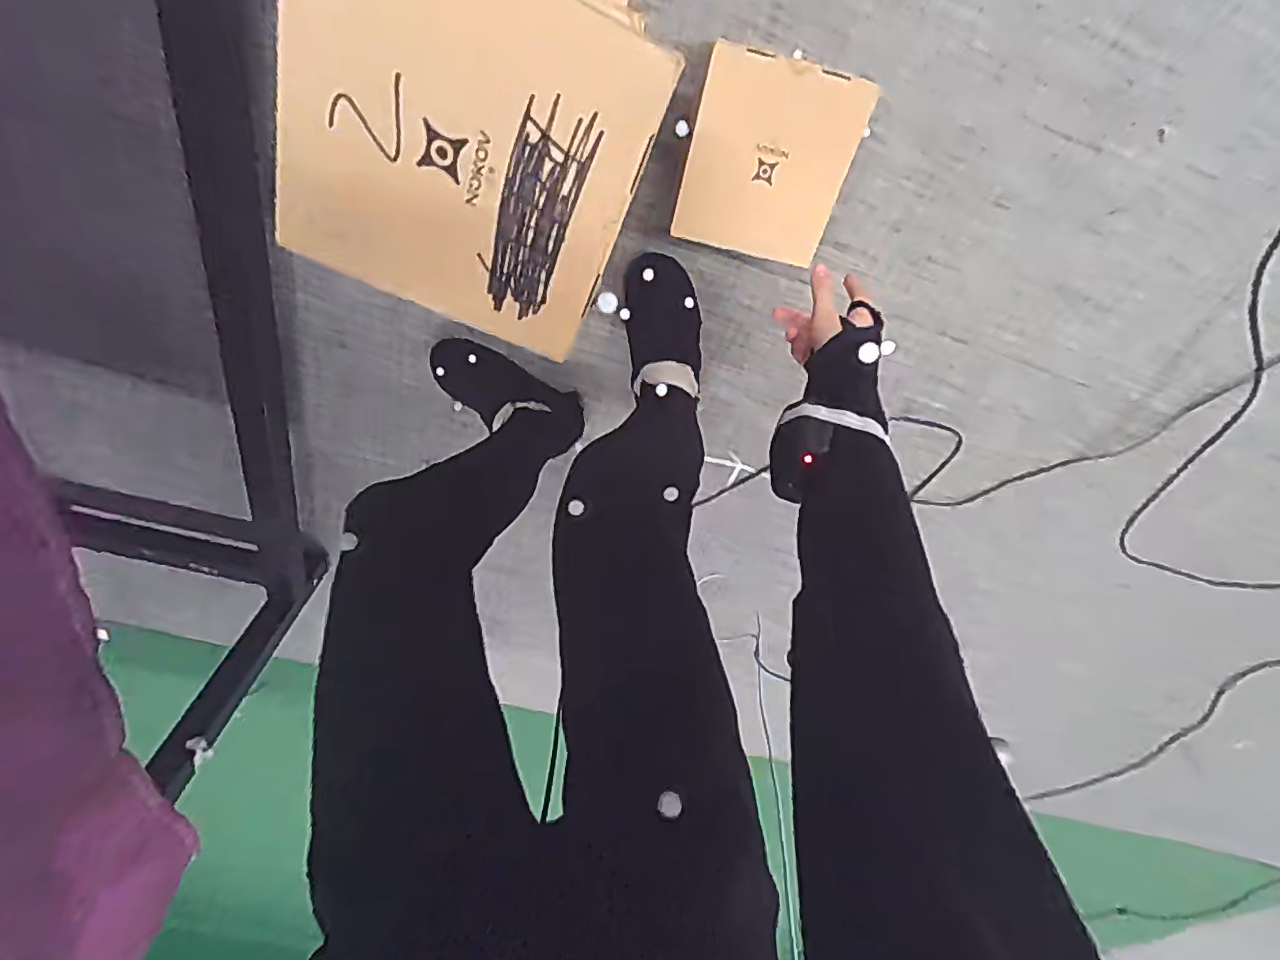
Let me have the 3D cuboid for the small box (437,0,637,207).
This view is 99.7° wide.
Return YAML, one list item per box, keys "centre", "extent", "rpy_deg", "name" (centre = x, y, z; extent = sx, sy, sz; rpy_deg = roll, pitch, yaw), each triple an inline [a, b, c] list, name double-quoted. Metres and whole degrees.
- centre: [-0.104, -0.430, 0.583]
  extent: [0.168, 0.176, 0.179]
  rpy_deg: [15, 128, -8]
  name: "small box"

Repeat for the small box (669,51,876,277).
- centre: [0.136, -0.364, 0.623]
  extent: [0.168, 0.176, 0.179]
  rpy_deg: [12, 128, -5]
  name: "small box"
